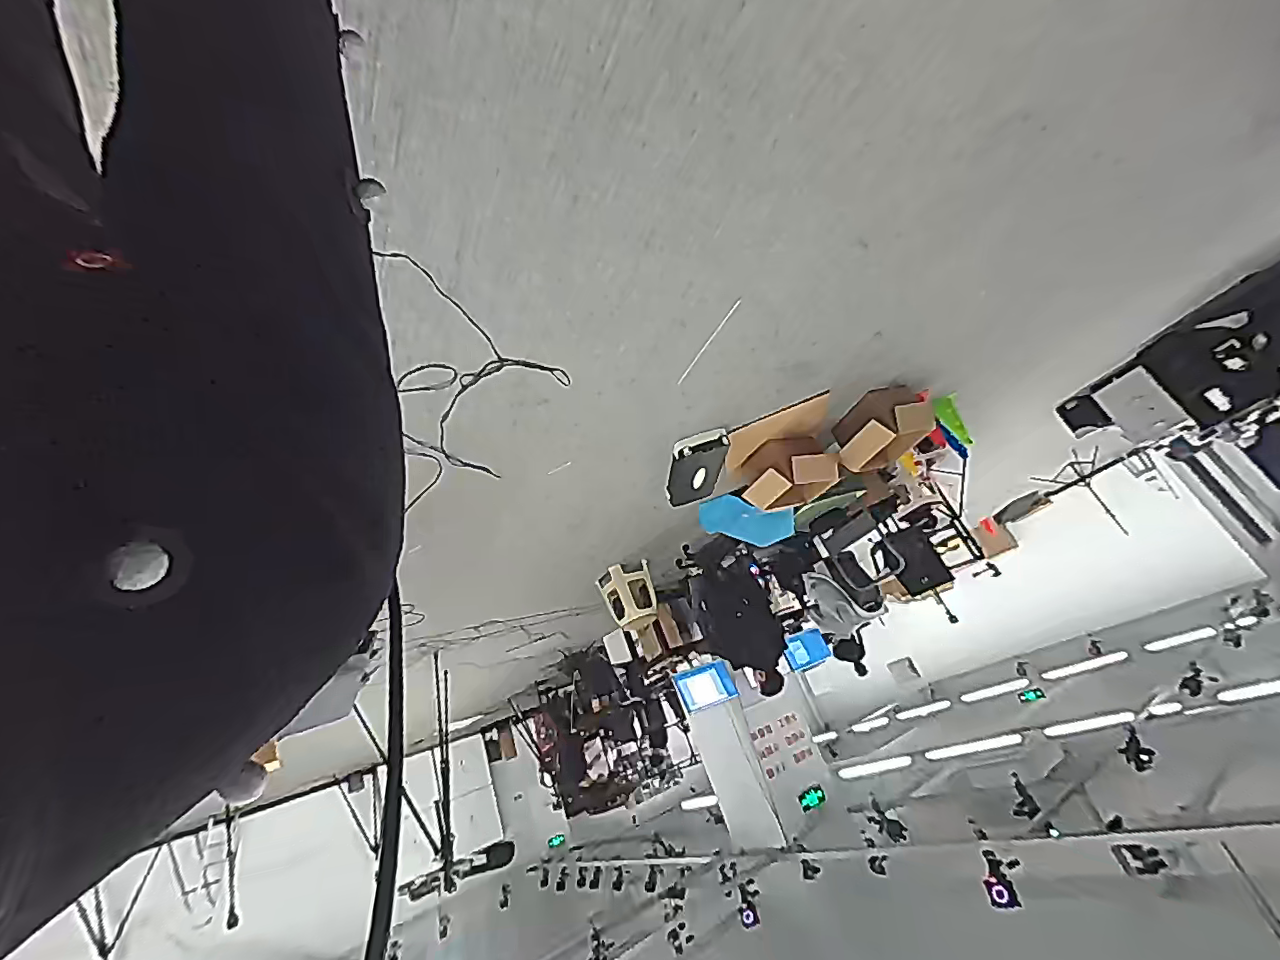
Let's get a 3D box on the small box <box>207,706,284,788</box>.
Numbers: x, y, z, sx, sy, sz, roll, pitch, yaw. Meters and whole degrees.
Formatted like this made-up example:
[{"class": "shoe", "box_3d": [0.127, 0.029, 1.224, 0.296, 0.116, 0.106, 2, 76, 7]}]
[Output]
[{"class": "small box", "box_3d": [-1.190, 0.803, 1.635, 0.179, 0.176, 0.168, -5, 151, -33]}]
